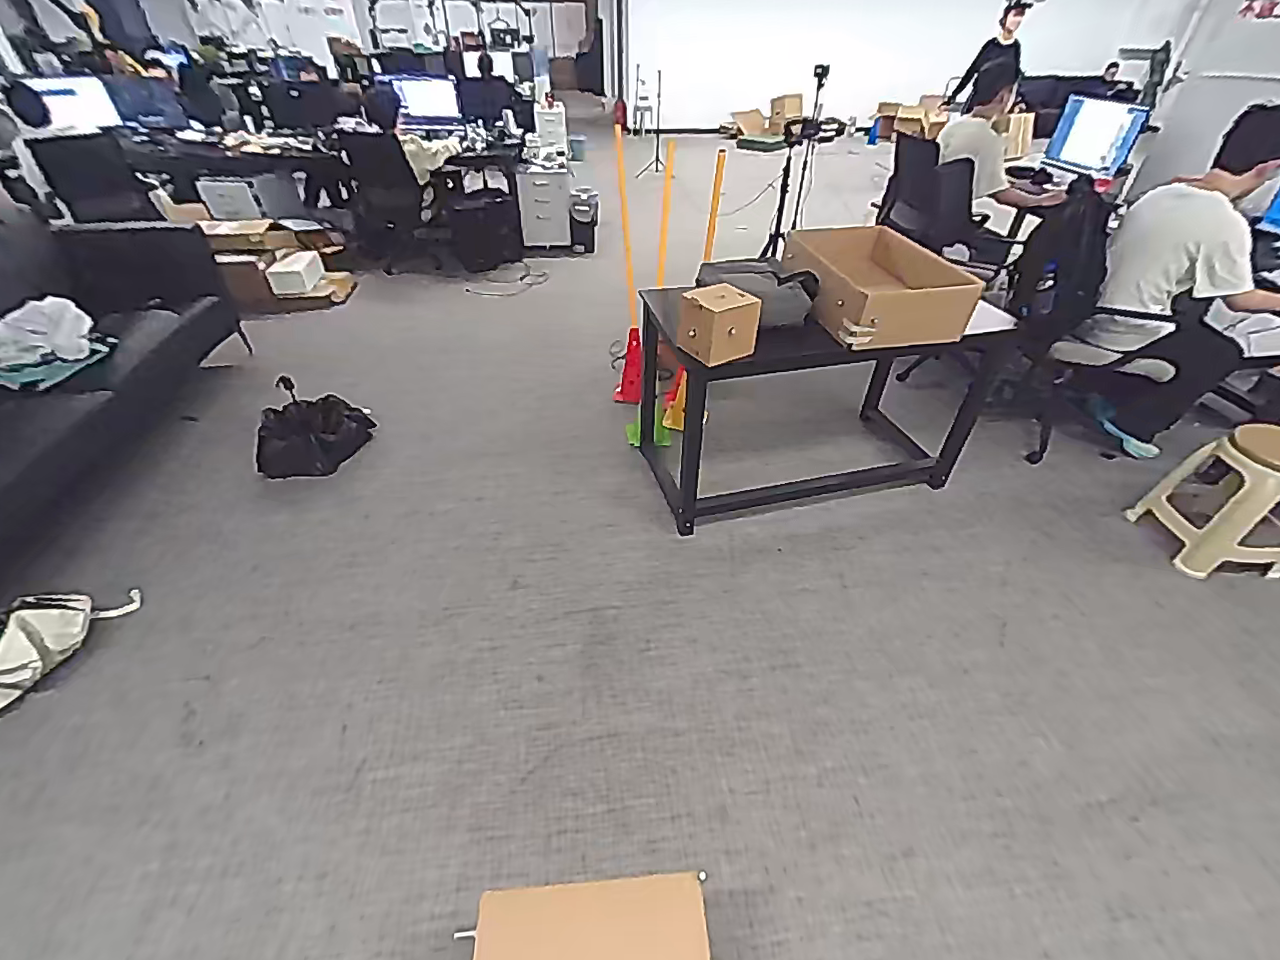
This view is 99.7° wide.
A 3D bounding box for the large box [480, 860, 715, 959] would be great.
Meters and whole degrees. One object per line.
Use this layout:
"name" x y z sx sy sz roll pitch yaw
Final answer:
"large box" -0.070 0.943 0.987 0.408 0.320 0.320 -3 41 -4
